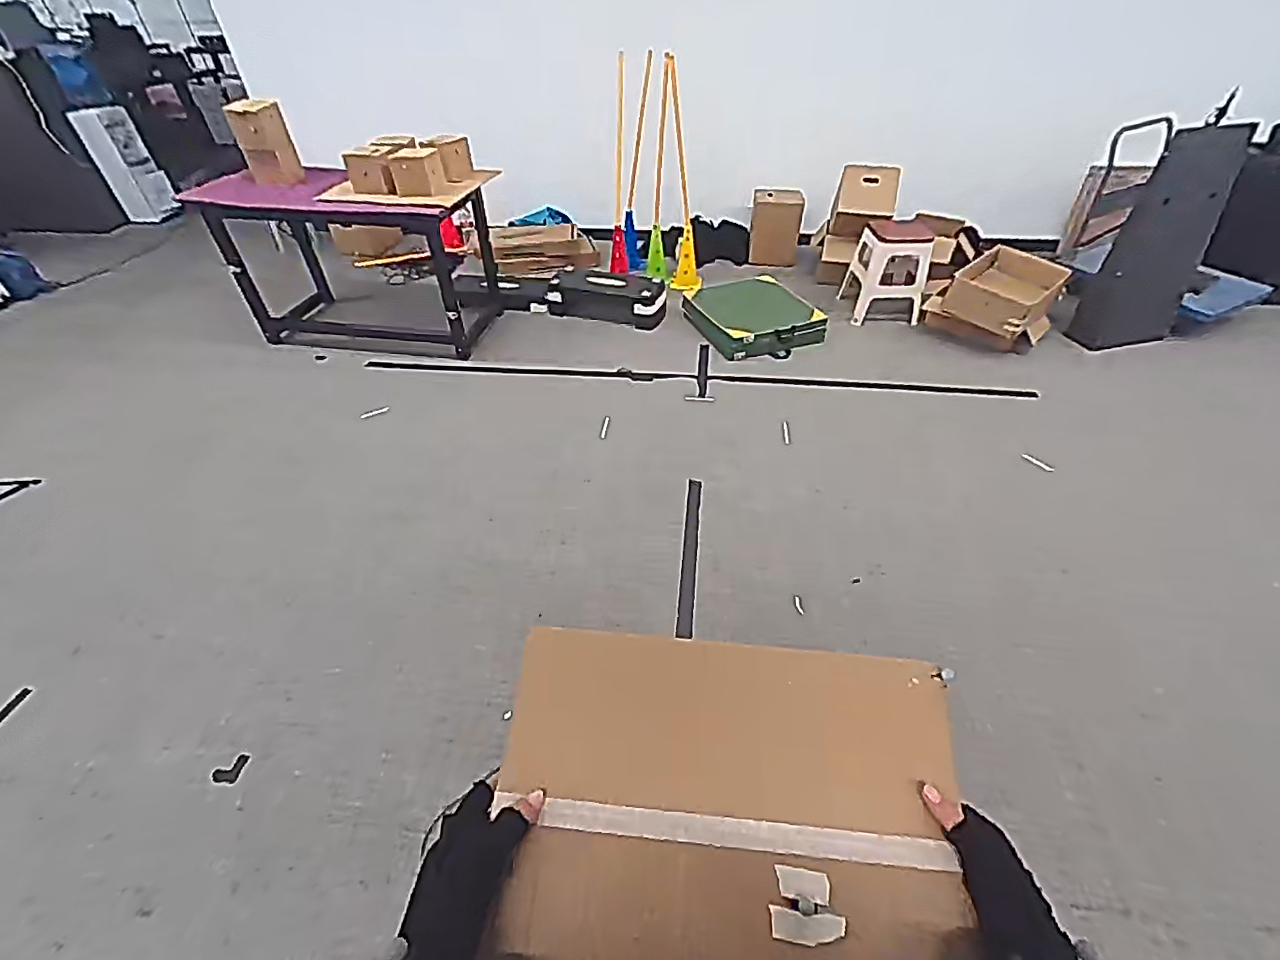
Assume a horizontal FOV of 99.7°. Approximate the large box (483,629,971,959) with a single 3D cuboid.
[{"bbox_3d":[0.081,0.370,0.616,0.408,0.320,0.320,4,64,5],"label":"large box"}]
